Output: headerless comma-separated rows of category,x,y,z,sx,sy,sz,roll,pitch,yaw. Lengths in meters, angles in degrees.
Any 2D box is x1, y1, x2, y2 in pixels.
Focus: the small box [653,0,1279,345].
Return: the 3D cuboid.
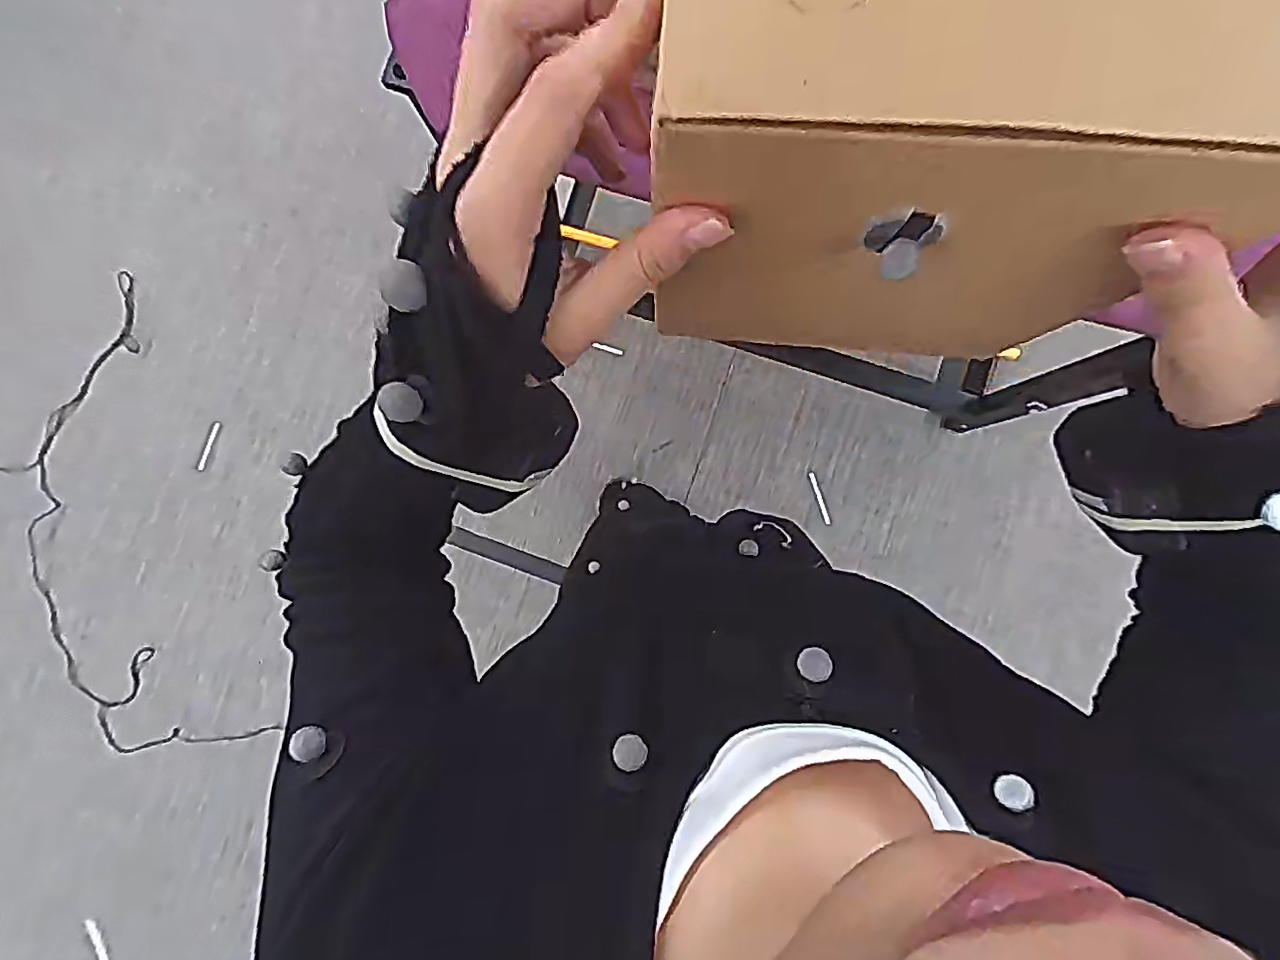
small box,0.100,-0.157,0.205,0.179,0.176,0.168,5,89,2
